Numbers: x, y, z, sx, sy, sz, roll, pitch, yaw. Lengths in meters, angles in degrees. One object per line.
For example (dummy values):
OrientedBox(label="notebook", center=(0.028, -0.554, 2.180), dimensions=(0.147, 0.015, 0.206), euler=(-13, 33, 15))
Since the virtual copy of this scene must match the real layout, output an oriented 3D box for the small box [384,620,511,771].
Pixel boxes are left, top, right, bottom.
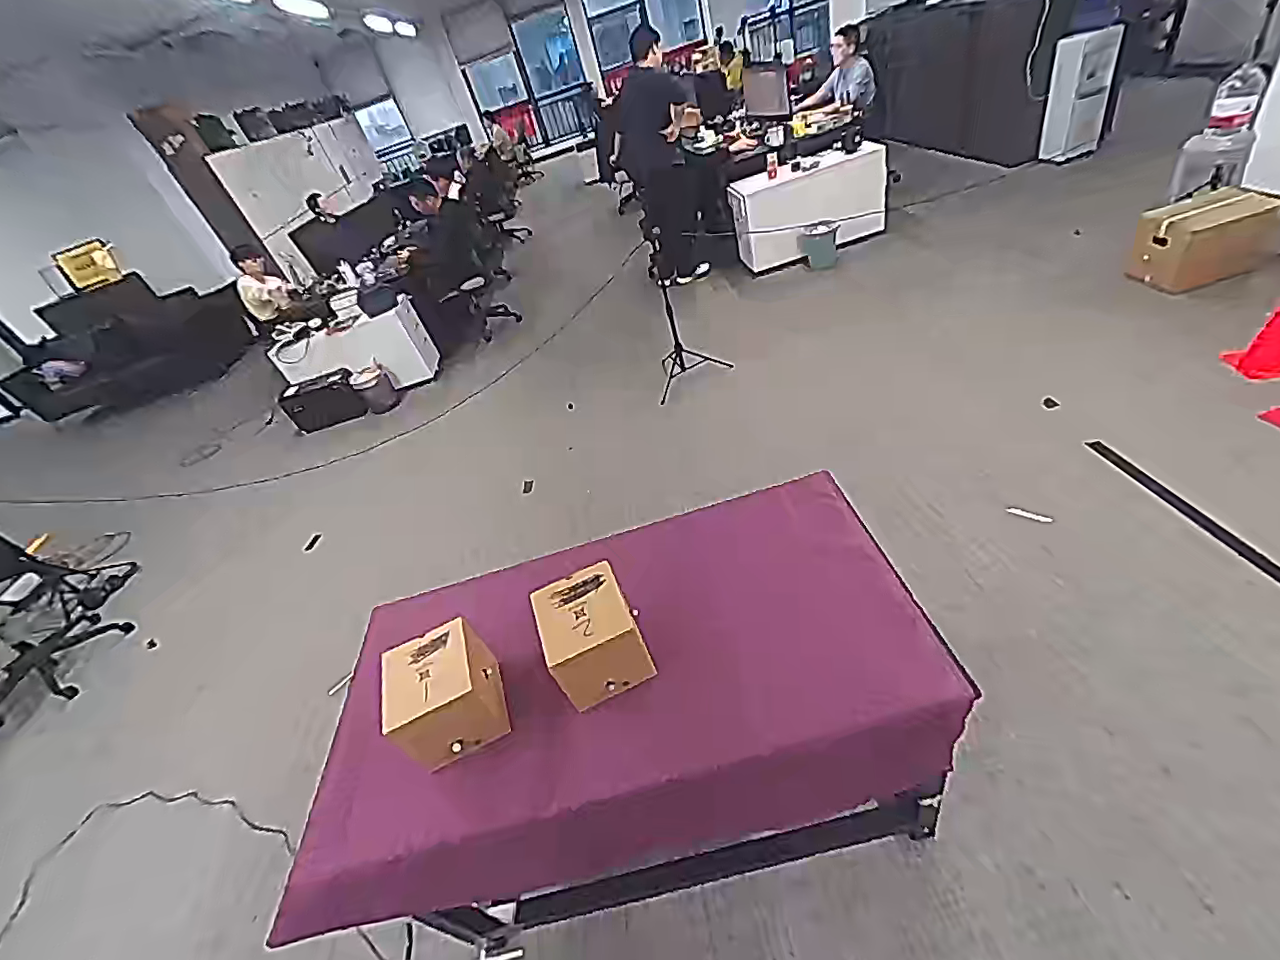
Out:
OrientedBox(label="small box", center=(-0.365, 0.411, 1.033), dimensions=(0.168, 0.176, 0.179), euler=(-26, 40, -7))
